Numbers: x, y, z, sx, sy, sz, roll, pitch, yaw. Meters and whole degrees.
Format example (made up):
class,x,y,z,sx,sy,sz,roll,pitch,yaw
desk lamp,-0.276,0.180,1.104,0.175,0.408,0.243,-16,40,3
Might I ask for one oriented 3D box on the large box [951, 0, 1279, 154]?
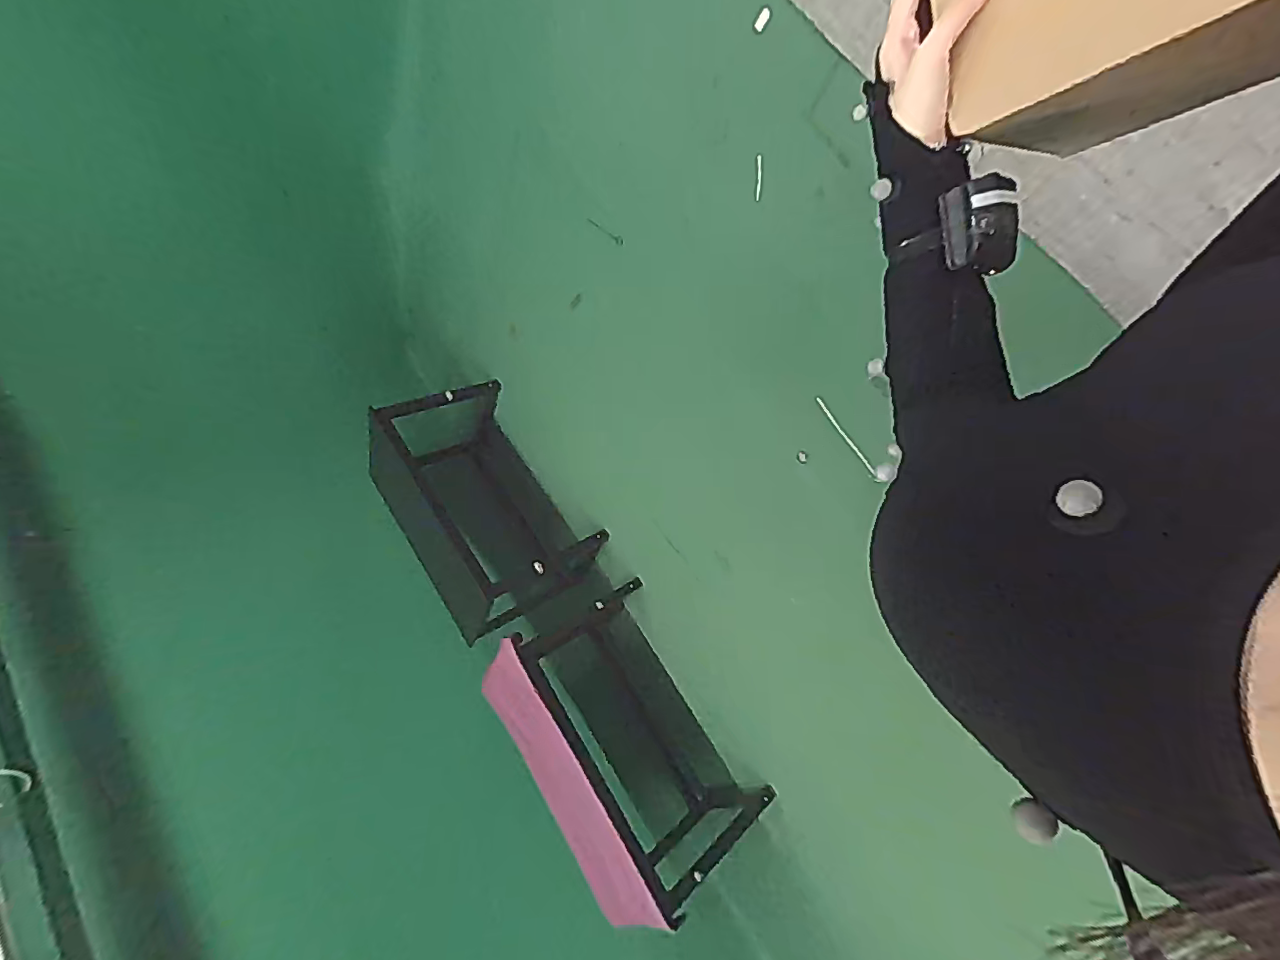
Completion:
class,x,y,z,sx,sy,sz,roll,pitch,yaw
large box,0.441,-0.462,0.324,0.408,0.320,0.320,-4,106,50
